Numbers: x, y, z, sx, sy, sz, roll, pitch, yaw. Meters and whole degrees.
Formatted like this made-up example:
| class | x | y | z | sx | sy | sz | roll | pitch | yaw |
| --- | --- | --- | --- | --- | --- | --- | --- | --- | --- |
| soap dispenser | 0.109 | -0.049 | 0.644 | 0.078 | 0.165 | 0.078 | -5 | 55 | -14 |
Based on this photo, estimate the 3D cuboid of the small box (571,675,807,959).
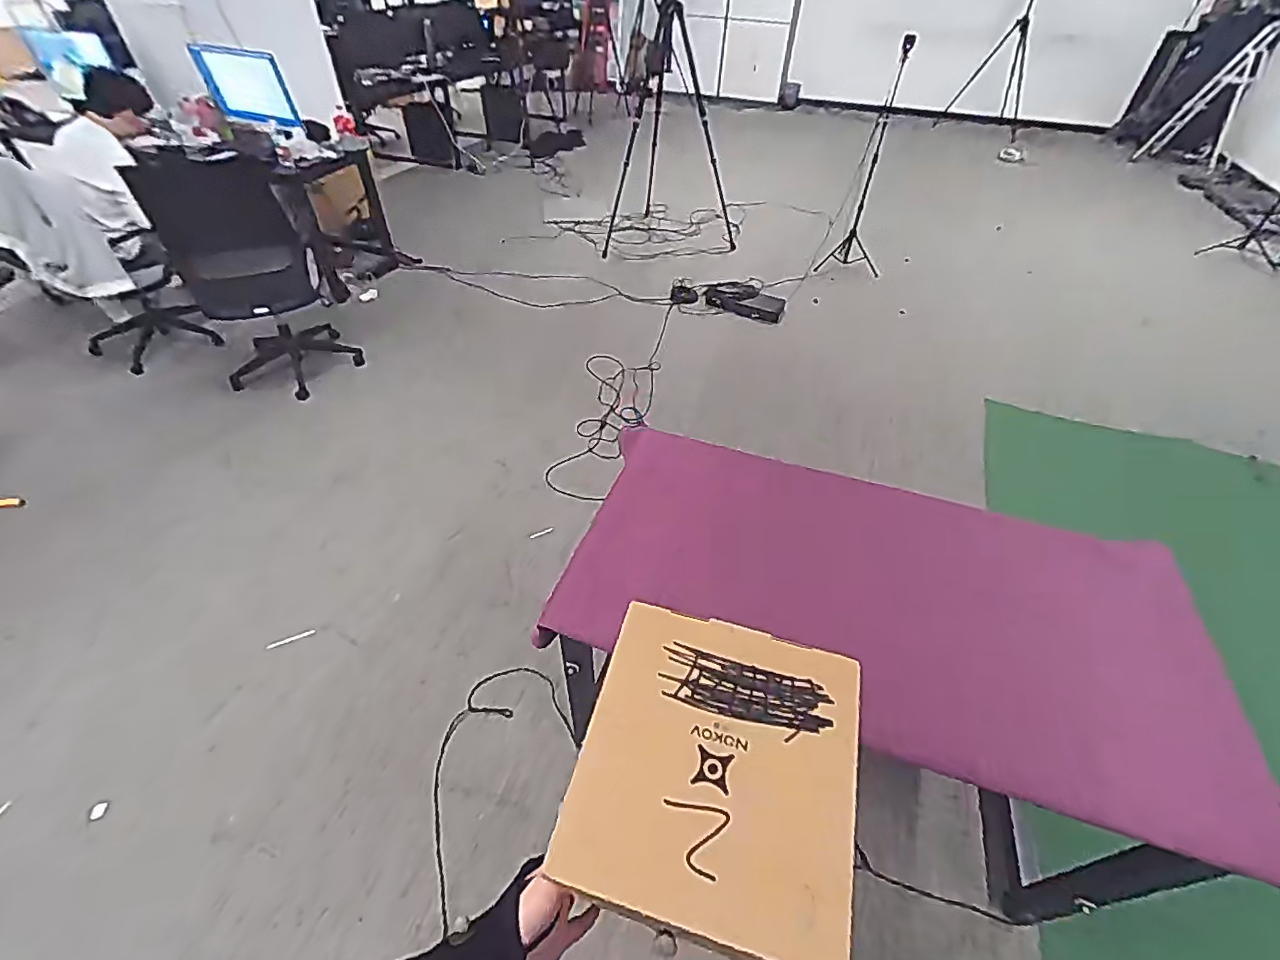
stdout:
| class | x | y | z | sx | sy | sz | roll | pitch | yaw |
| --- | --- | --- | --- | --- | --- | --- | --- | --- | --- |
| small box | 0.050 | 0.320 | 0.513 | 0.168 | 0.176 | 0.179 | 13 | 51 | 11 |
